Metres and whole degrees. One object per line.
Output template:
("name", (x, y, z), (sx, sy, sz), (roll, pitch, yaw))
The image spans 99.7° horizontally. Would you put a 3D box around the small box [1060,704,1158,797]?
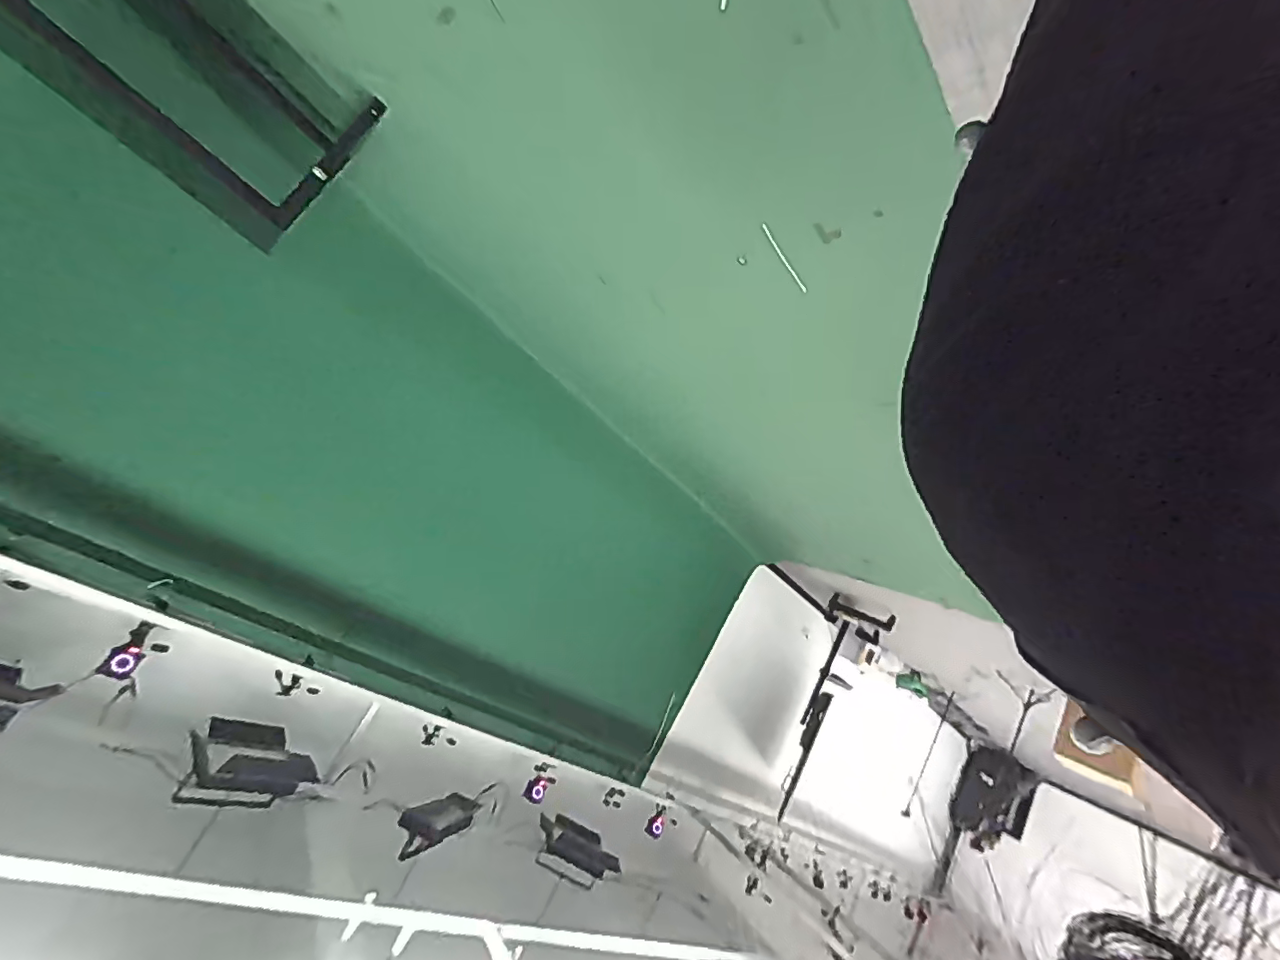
("small box", (1.360, 0.773, 1.566), (0.168, 0.176, 0.179), (41, 162, -35))
